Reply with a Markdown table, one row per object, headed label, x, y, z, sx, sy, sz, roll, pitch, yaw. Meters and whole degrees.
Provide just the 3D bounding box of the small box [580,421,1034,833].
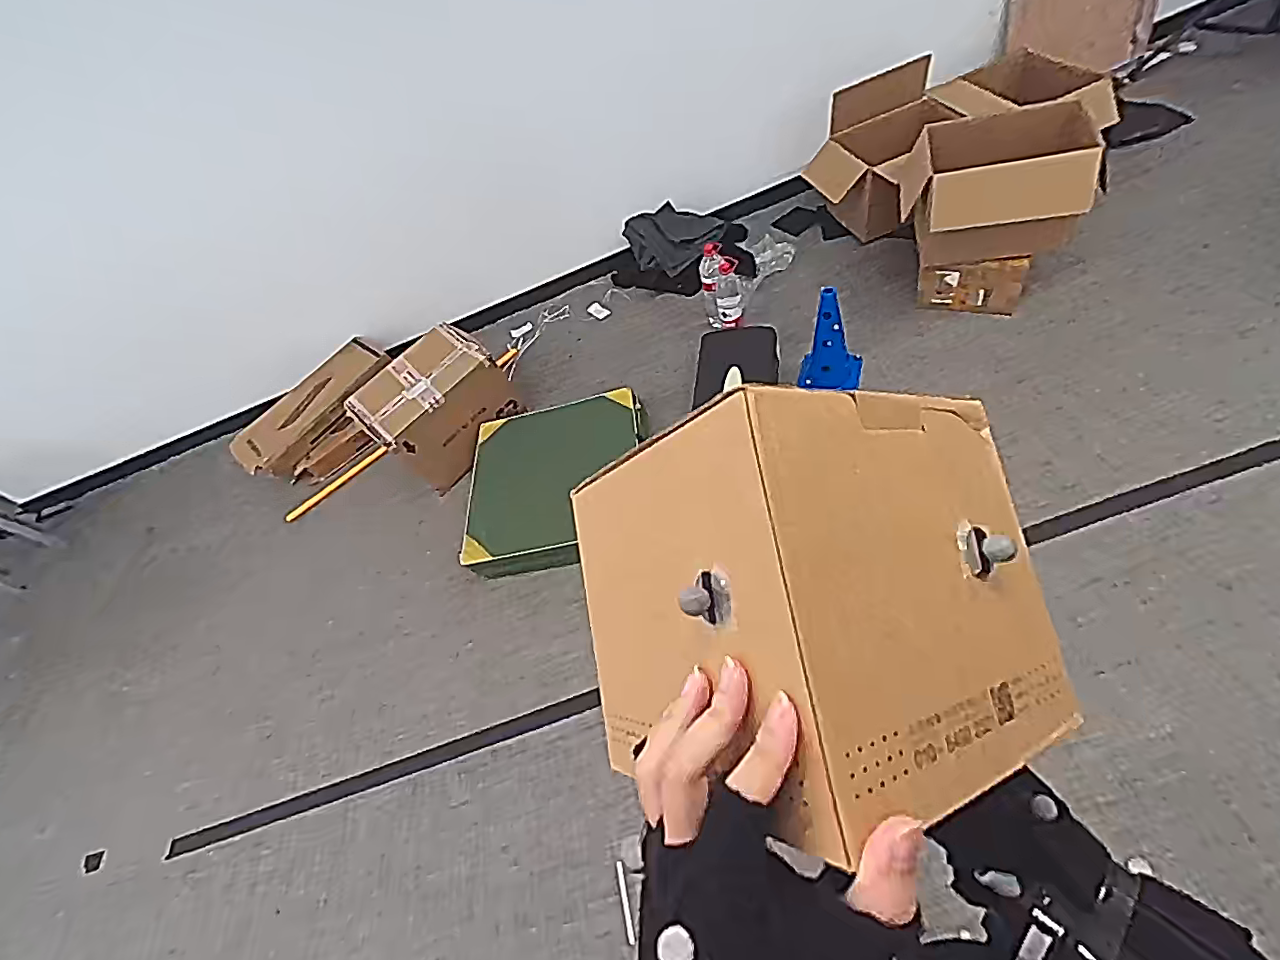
| label | x | y | z | sx | sy | sz | roll | pitch | yaw |
| --- | --- | --- | --- | --- | --- | --- | --- | --- | --- |
| small box | 0.082 | 0.074 | 0.315 | 0.168 | 0.179 | 0.176 | -2 | 76 | -30 |
